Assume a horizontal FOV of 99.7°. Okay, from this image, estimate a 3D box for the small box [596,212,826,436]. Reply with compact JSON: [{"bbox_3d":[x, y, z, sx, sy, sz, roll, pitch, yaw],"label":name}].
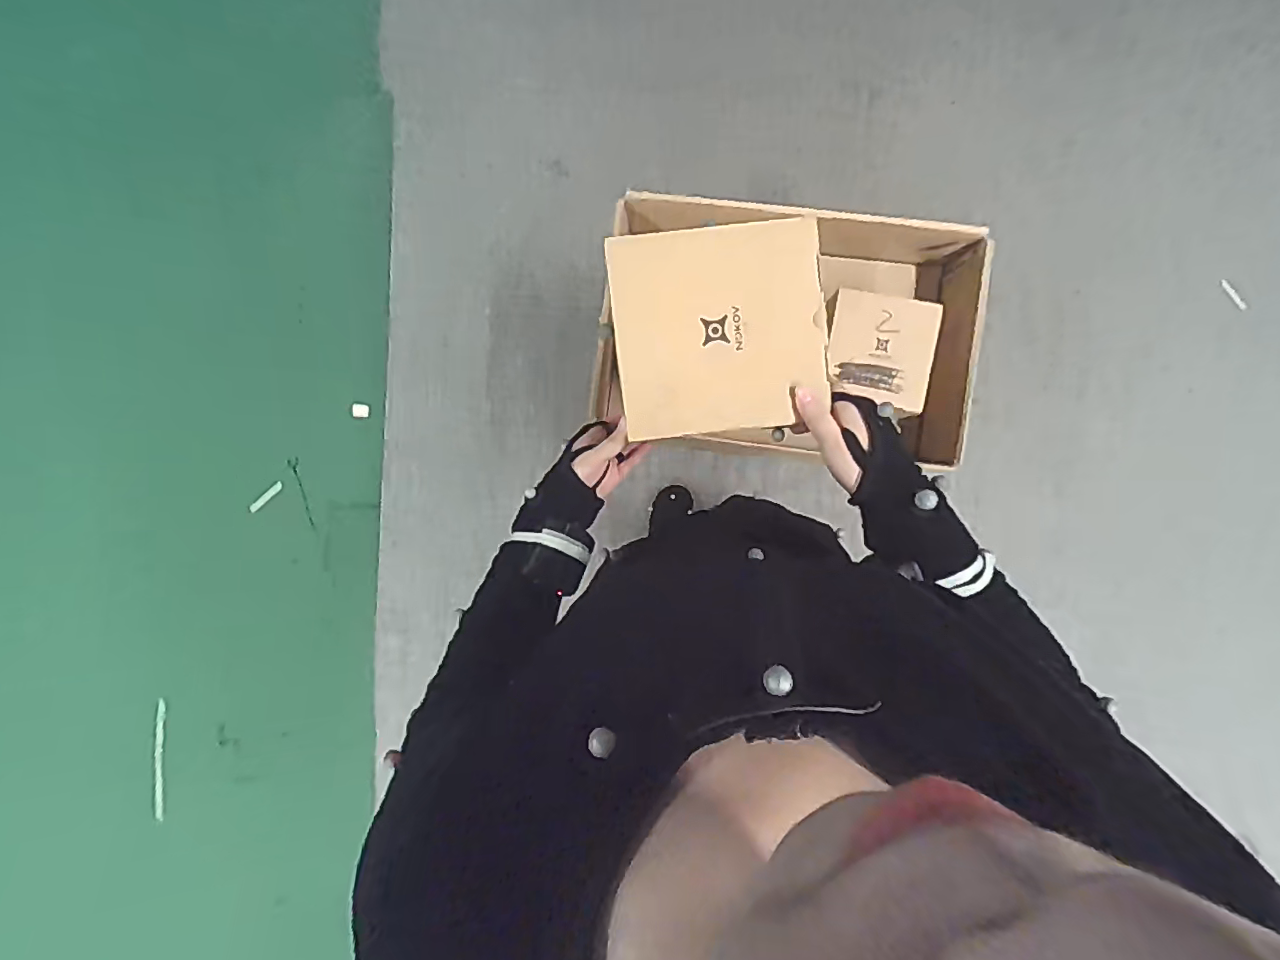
[{"bbox_3d":[0.057,-0.133,0.521,0.179,0.176,0.168,-8,95,-3],"label":"small box"}]
